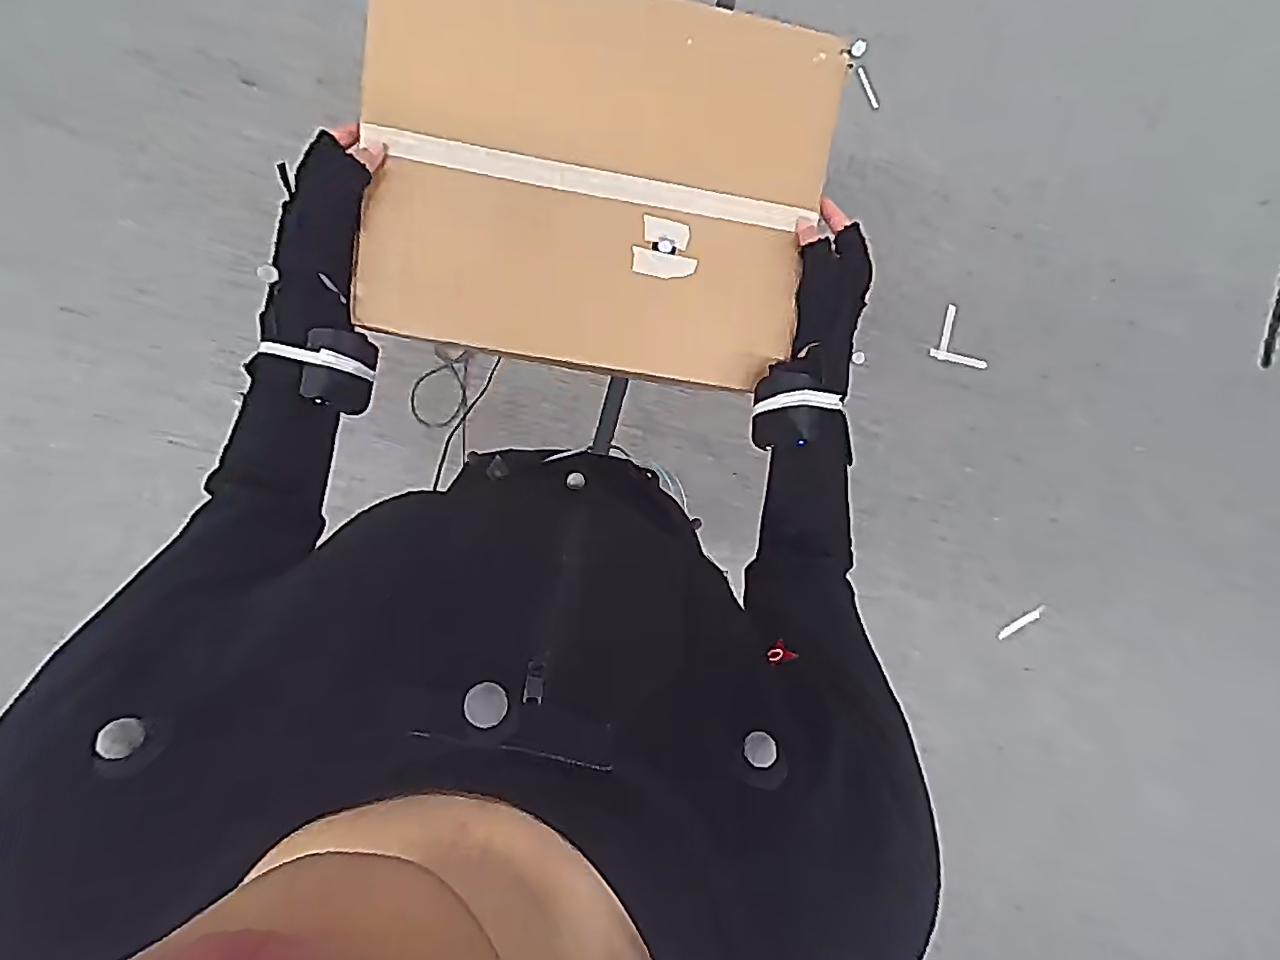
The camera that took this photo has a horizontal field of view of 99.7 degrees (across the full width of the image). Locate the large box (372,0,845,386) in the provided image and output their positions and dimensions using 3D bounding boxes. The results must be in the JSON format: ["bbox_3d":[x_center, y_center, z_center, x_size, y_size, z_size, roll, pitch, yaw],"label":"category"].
[{"bbox_3d":[-0.045,-0.292,0.635,0.408,0.320,0.320,8,100,-7],"label":"large box"}]
